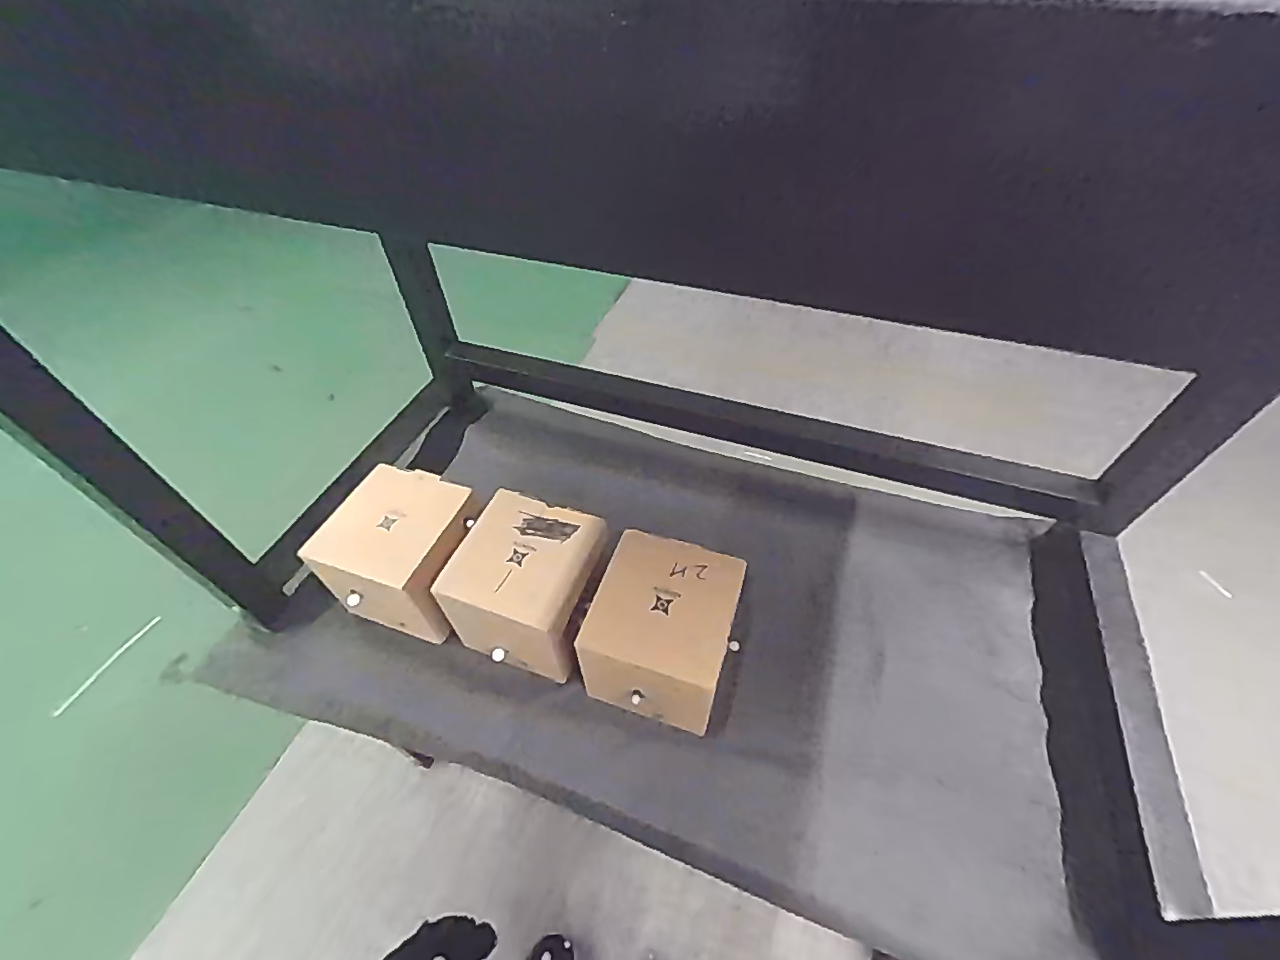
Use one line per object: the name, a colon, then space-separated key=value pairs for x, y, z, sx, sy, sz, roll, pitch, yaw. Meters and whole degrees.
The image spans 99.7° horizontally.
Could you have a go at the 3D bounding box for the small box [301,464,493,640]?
small box: x=-0.338 y=0.108 z=0.797 sx=0.168 sy=0.176 sz=0.179 roll=14 pitch=50 yaw=13
